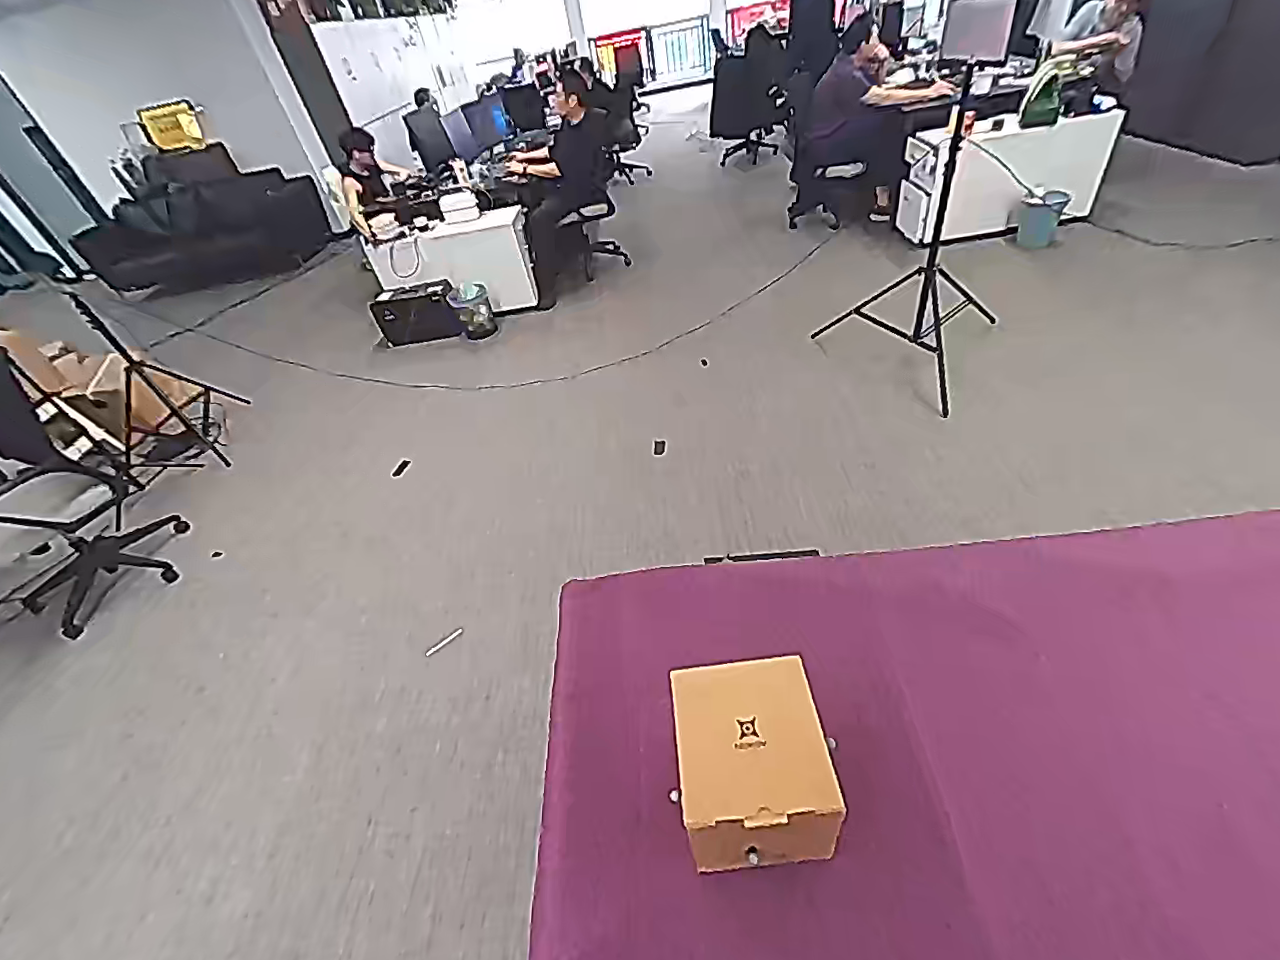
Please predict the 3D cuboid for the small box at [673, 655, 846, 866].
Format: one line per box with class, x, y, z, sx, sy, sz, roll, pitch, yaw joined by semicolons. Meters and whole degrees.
small box;0.135;0.345;0.667;0.168;0.176;0.179;-8;42;3
